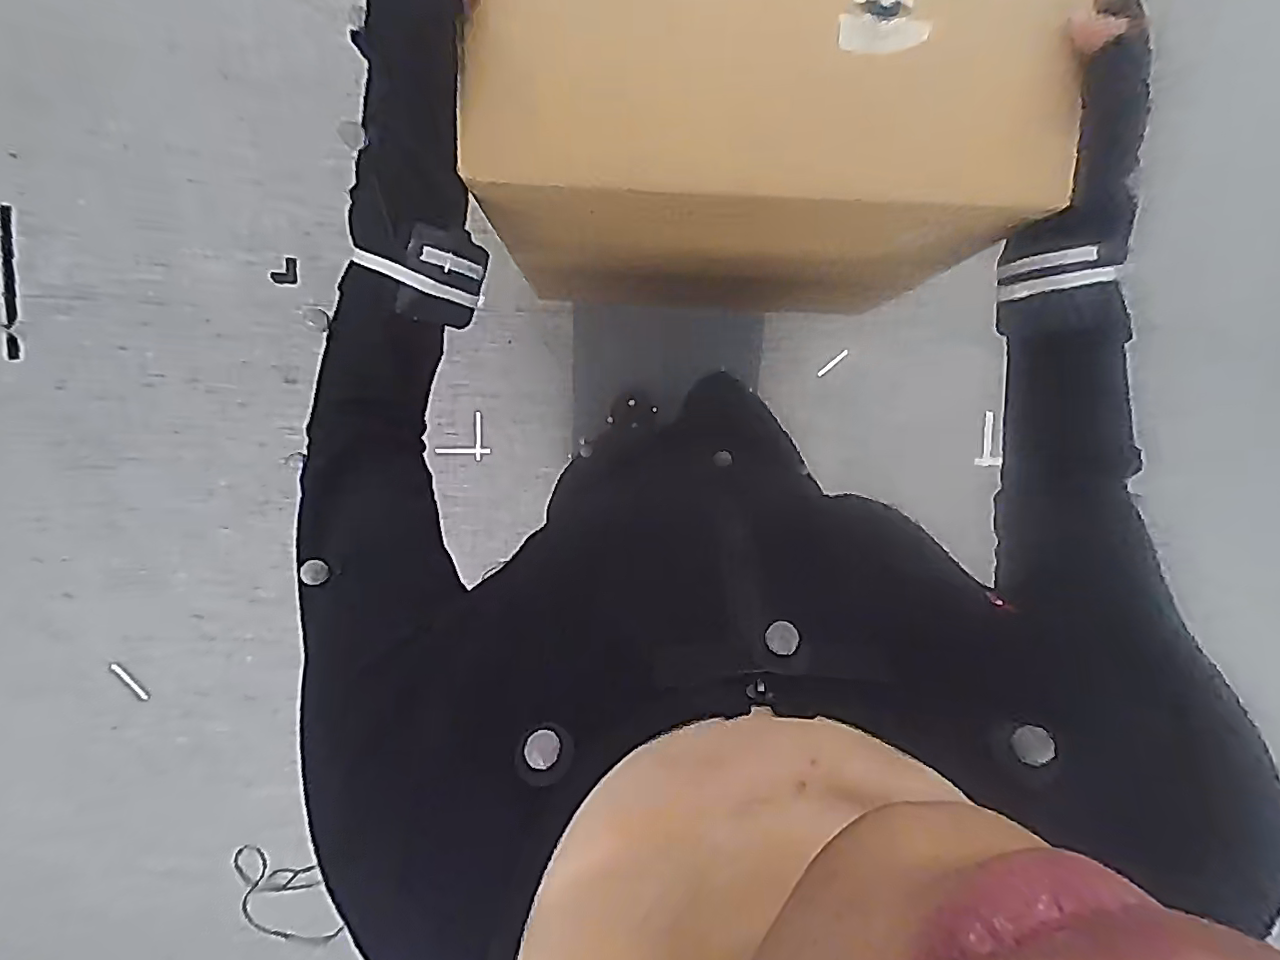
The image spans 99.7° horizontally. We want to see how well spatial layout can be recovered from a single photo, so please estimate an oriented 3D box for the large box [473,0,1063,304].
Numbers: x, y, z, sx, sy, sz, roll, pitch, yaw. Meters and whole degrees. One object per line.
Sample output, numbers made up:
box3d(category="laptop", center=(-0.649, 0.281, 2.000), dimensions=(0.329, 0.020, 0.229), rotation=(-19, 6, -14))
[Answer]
box3d(category="large box", center=(0.083, -0.363, 0.508), dimensions=(0.408, 0.320, 0.320), rotation=(2, 94, -2))
